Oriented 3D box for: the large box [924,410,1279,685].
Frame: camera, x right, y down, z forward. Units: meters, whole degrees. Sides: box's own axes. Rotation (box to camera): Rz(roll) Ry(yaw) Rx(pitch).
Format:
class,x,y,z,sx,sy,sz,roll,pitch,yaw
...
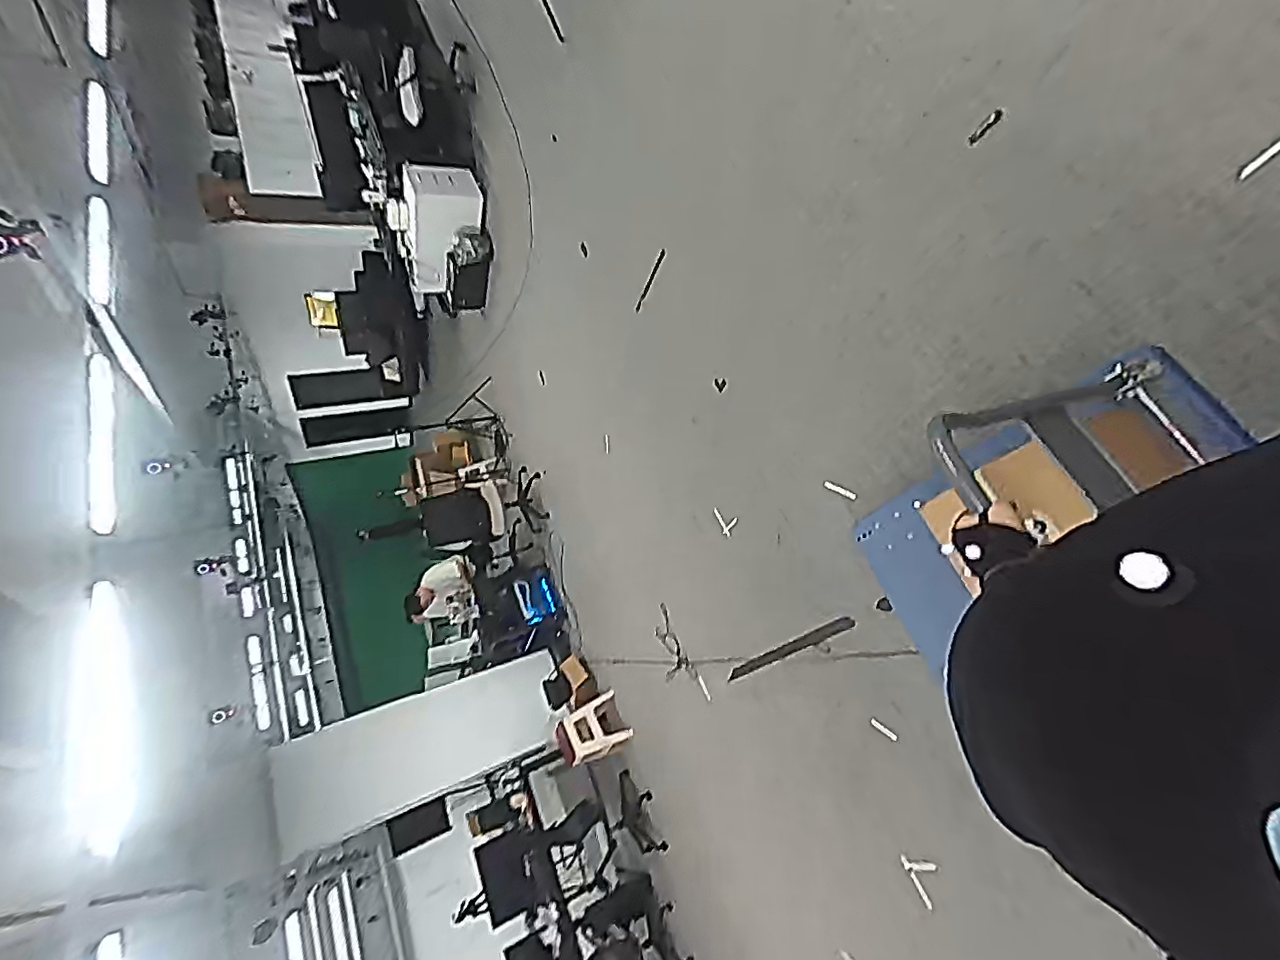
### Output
class,x,y,z,sx,sy,sz,roll,pitch,yaw
large box,0.867,0.126,1.046,0.408,0.320,0.320,67,150,21
